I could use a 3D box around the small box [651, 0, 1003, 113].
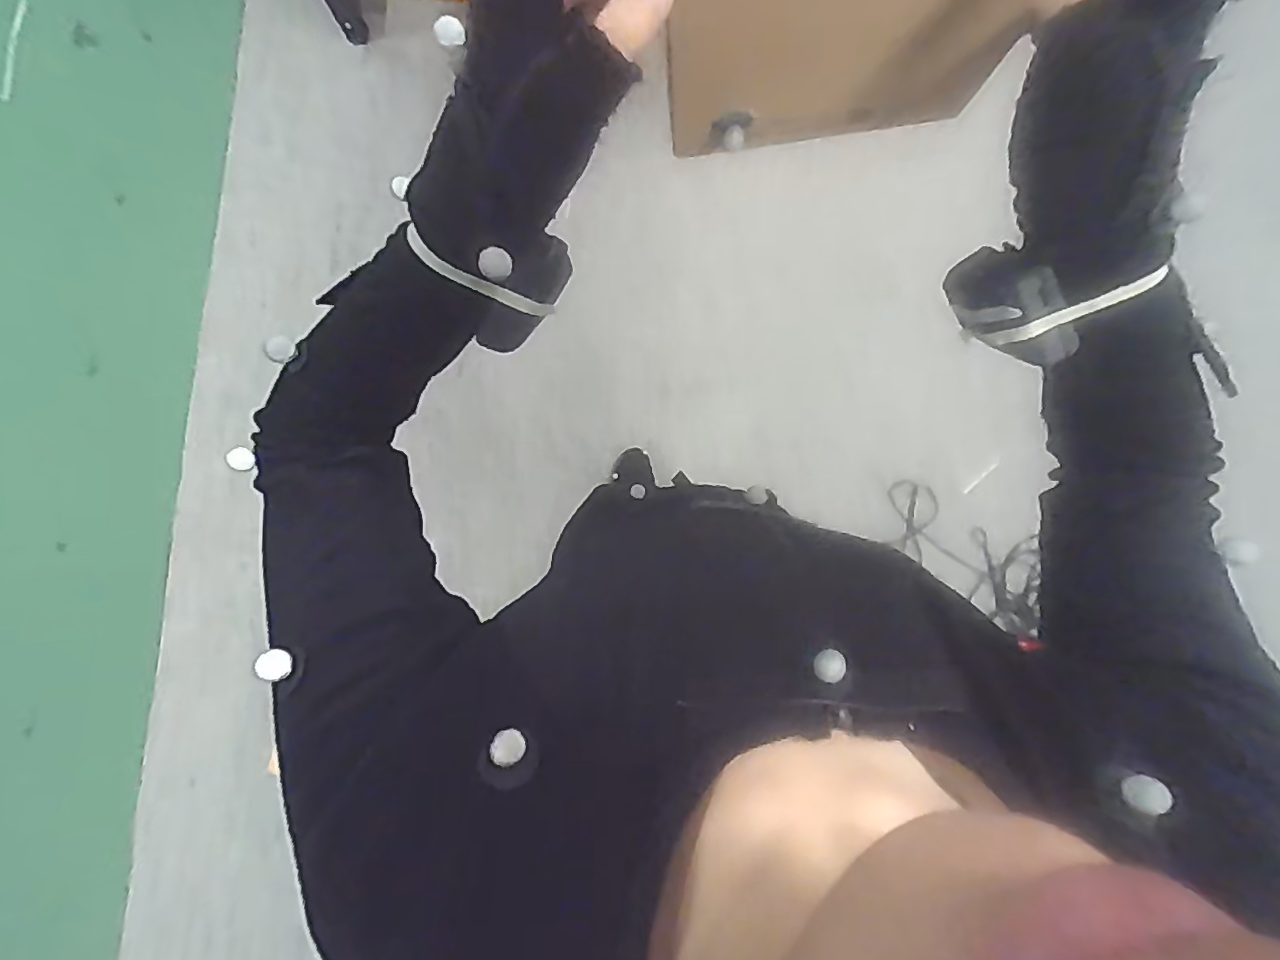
[{"bbox_3d":[0.082,-0.292,0.231,0.168,0.176,0.179,-5,91,5],"label":"small box"}]
